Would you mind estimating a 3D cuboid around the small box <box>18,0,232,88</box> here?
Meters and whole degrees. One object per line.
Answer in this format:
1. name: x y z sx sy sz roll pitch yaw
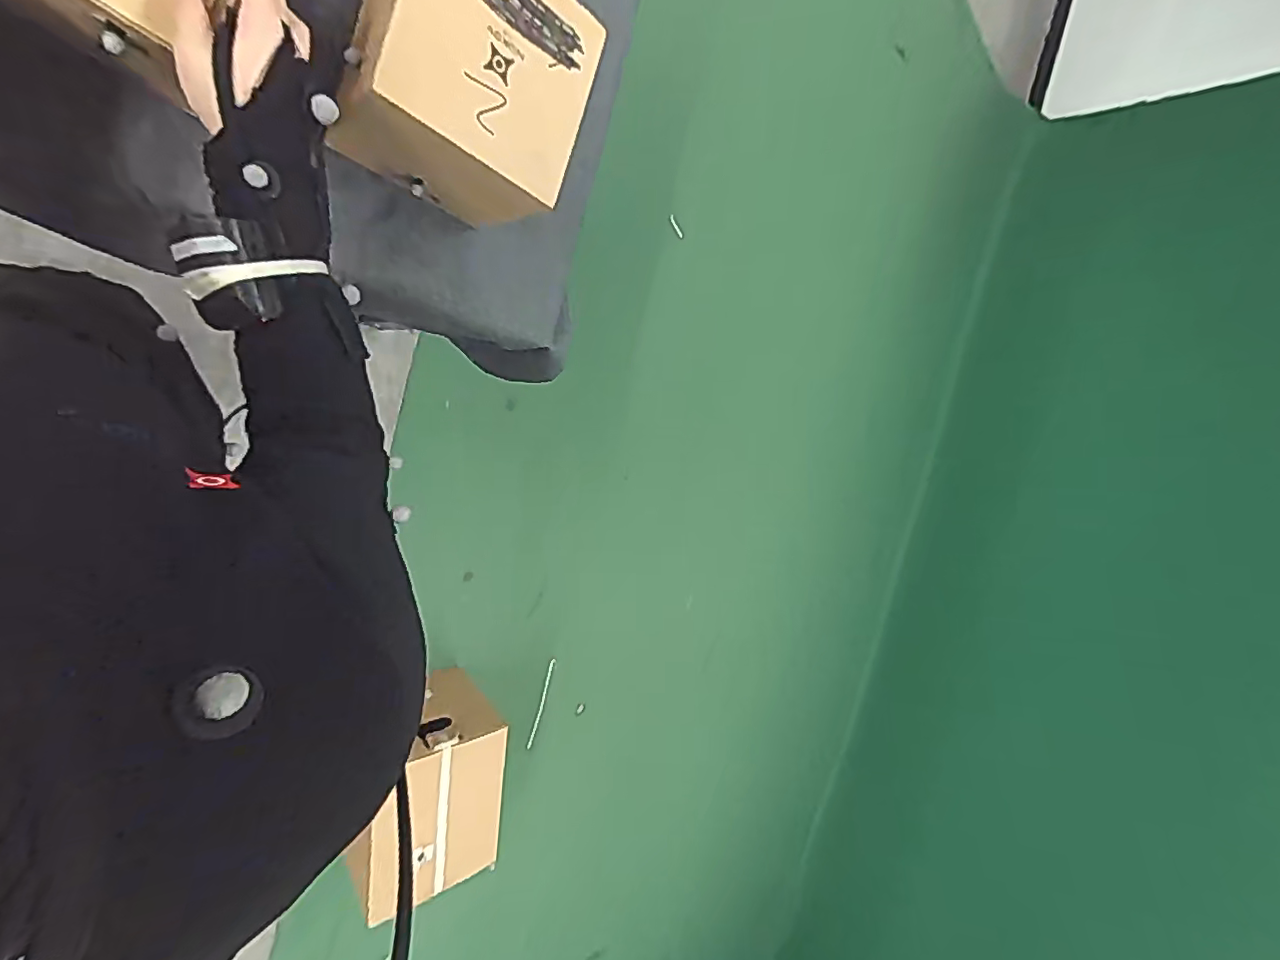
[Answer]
1. small box: -0.349 -0.383 0.325 0.179 0.176 0.168 20 94 -44
